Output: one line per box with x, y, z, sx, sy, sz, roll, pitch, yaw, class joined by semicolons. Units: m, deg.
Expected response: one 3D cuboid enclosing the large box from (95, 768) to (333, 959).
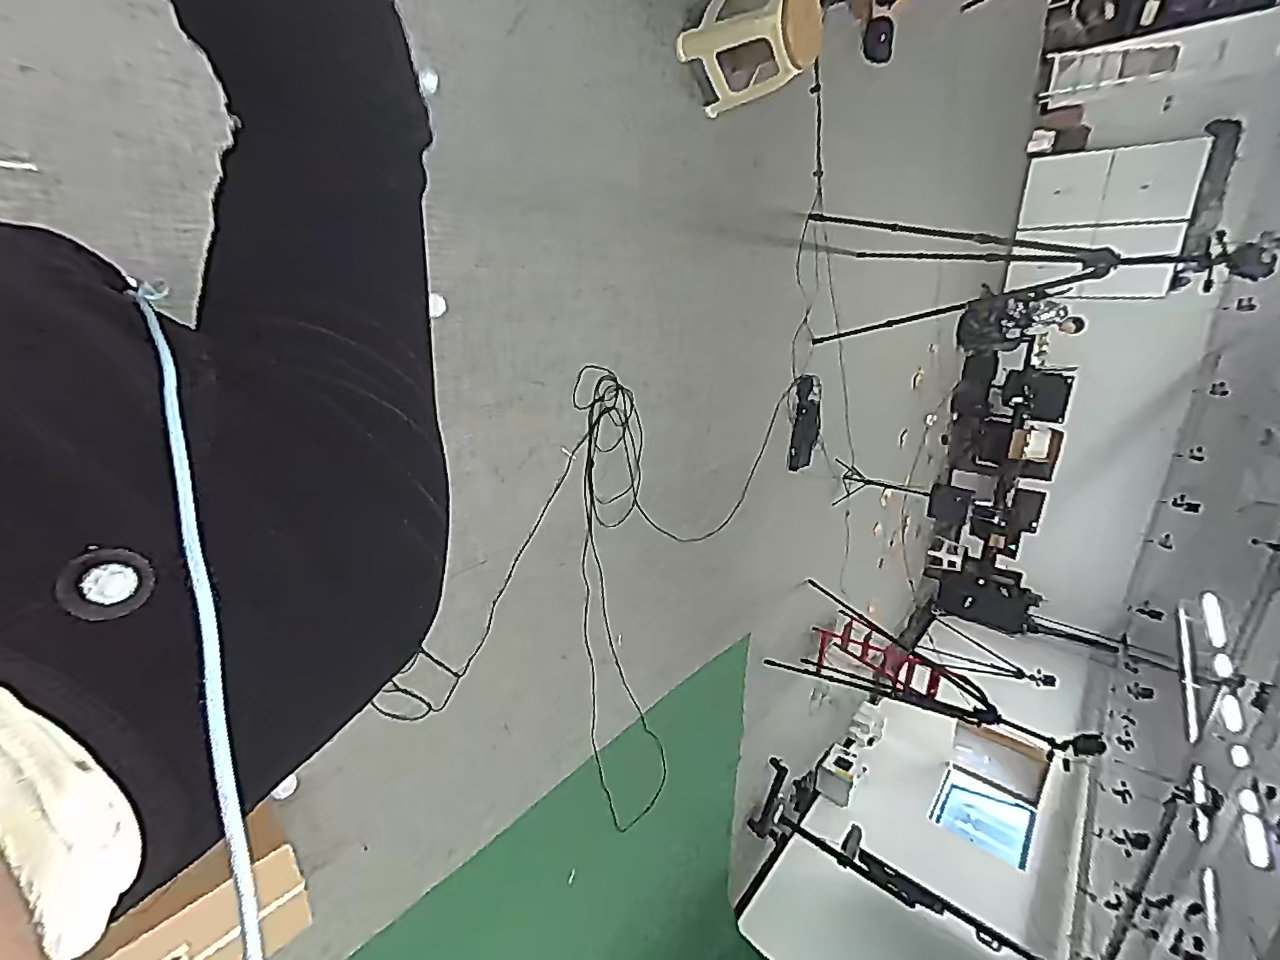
-1.112;1.078;1.436;0.408;0.320;0.320;-21;117;-43;large box
